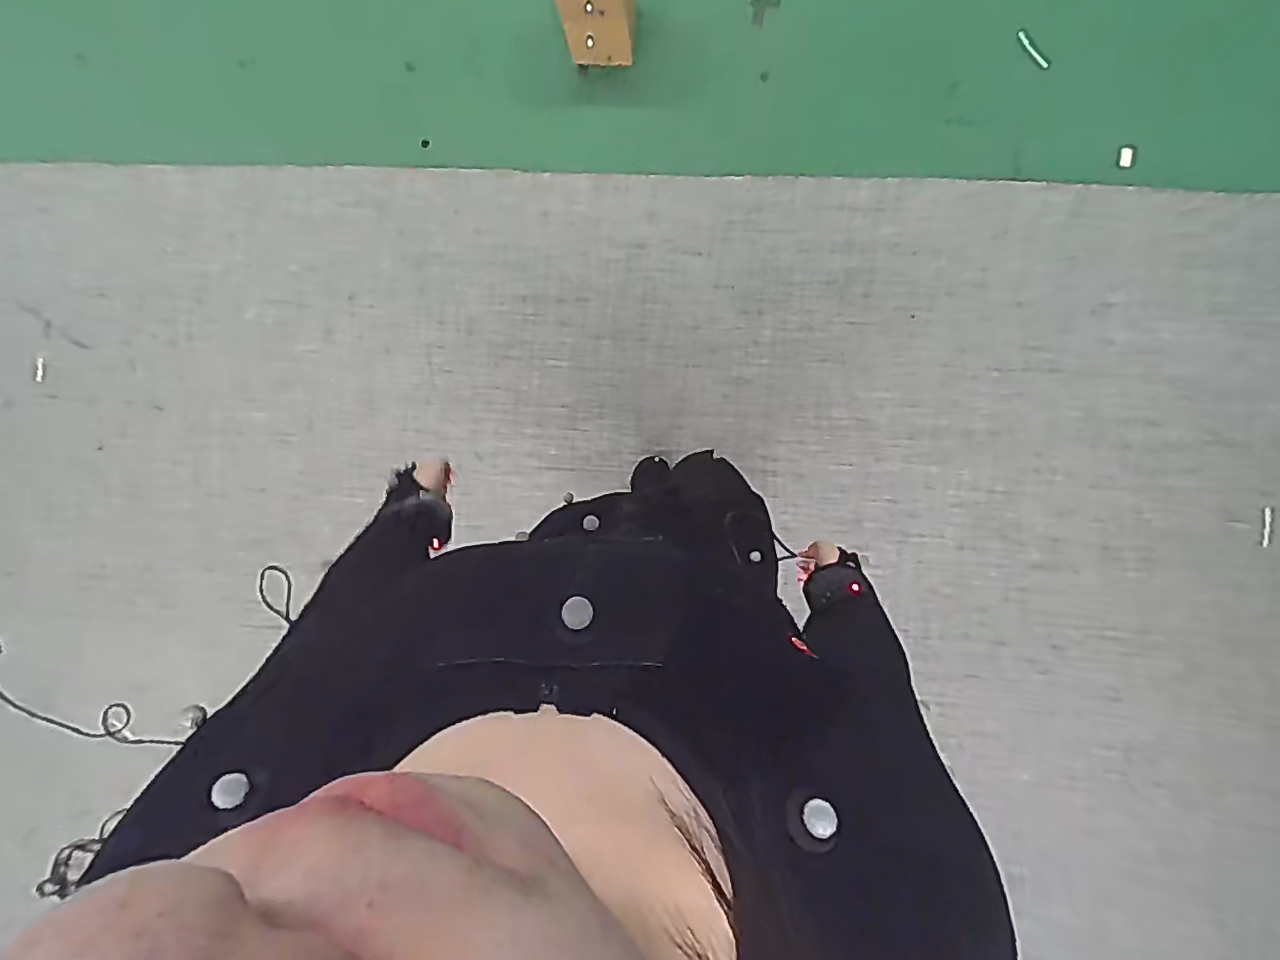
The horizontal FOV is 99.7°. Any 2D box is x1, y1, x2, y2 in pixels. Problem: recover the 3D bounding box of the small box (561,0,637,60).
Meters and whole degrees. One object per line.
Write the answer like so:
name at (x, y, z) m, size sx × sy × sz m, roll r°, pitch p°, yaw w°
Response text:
small box at (-0.099, -1.225, 1.389) m, size 0.168 × 0.176 × 0.179 m, roll 4°, pitch 91°, yaw 4°
